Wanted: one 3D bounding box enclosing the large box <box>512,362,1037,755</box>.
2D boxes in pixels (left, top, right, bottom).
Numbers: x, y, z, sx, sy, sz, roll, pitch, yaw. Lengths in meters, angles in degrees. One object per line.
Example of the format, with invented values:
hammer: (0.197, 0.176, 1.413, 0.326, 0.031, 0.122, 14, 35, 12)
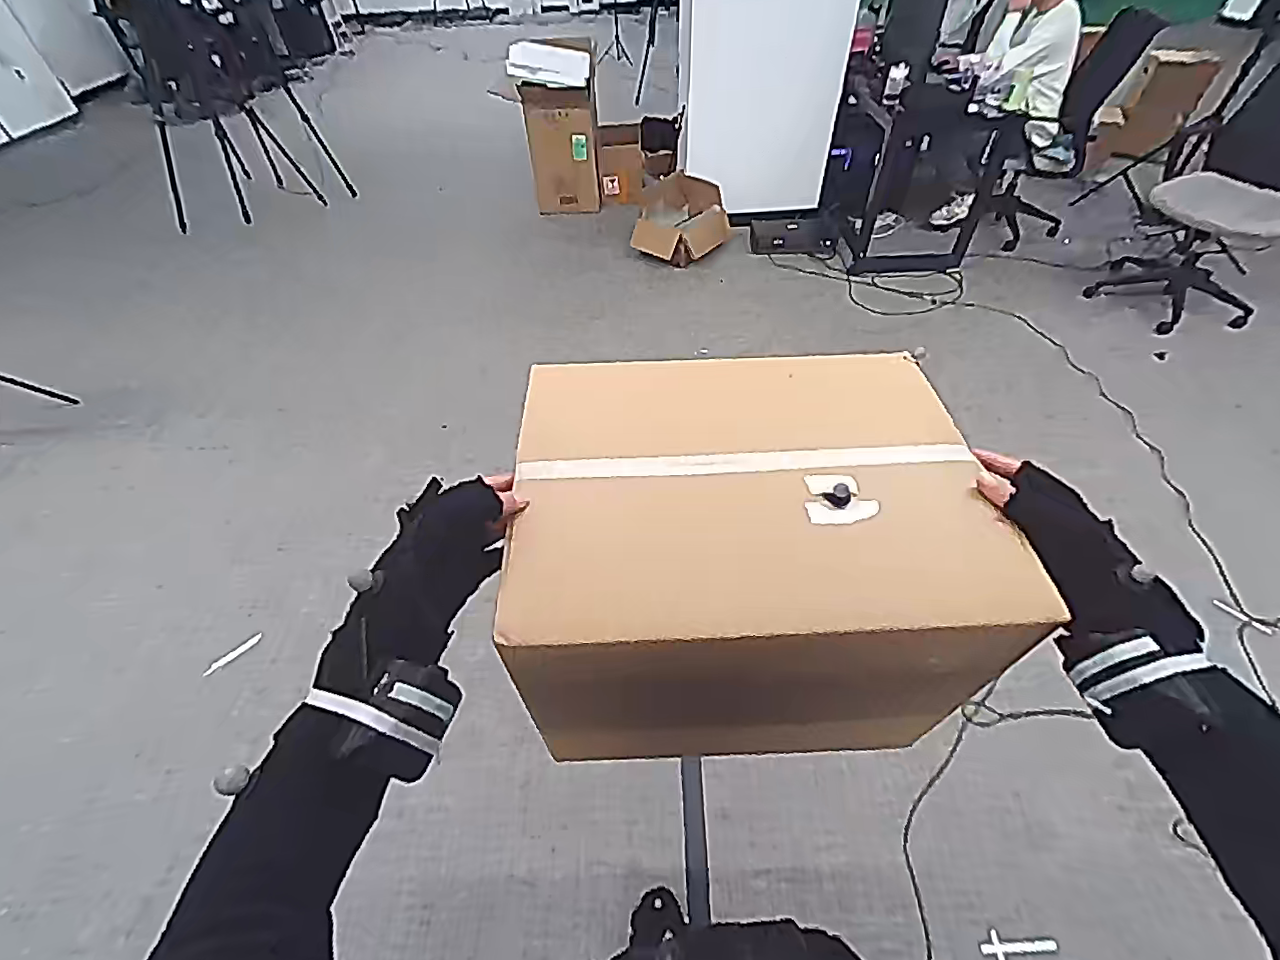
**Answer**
large box: (0.094, 0.091, 0.606, 0.408, 0.320, 0.320, -2, 50, -2)
